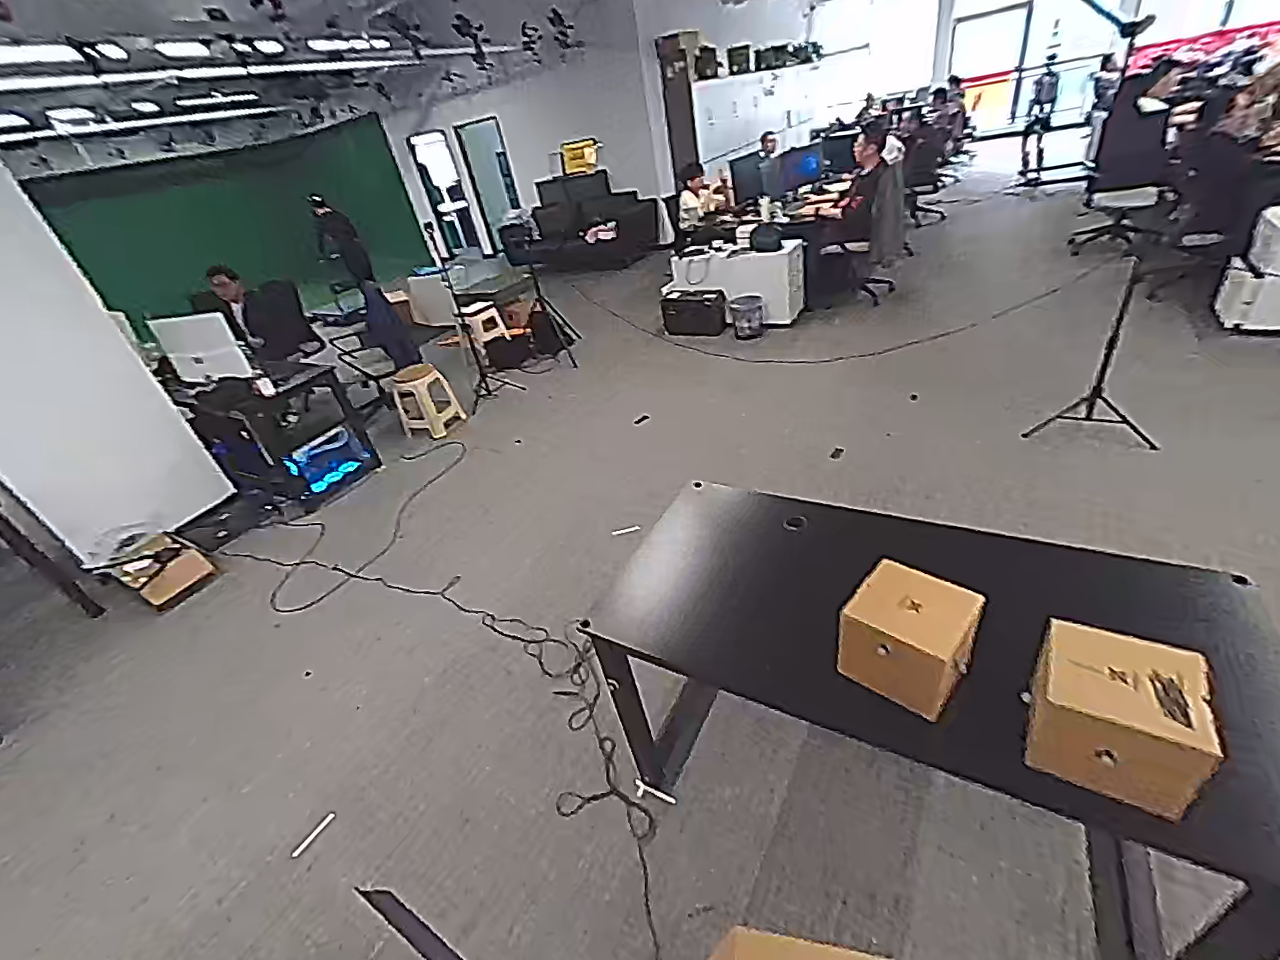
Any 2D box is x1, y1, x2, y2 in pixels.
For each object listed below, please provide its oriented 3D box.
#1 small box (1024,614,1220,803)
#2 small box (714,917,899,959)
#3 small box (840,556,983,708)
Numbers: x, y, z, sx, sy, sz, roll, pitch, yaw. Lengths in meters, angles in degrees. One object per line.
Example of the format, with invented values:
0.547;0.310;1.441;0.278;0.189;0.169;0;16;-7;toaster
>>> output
0.691;0.335;0.795;0.179;0.176;0.168;11;40;33;small box
0.161;0.581;0.540;0.179;0.176;0.168;10;34;2;small box
0.477;0.273;0.965;0.179;0.176;0.168;21;46;41;small box
